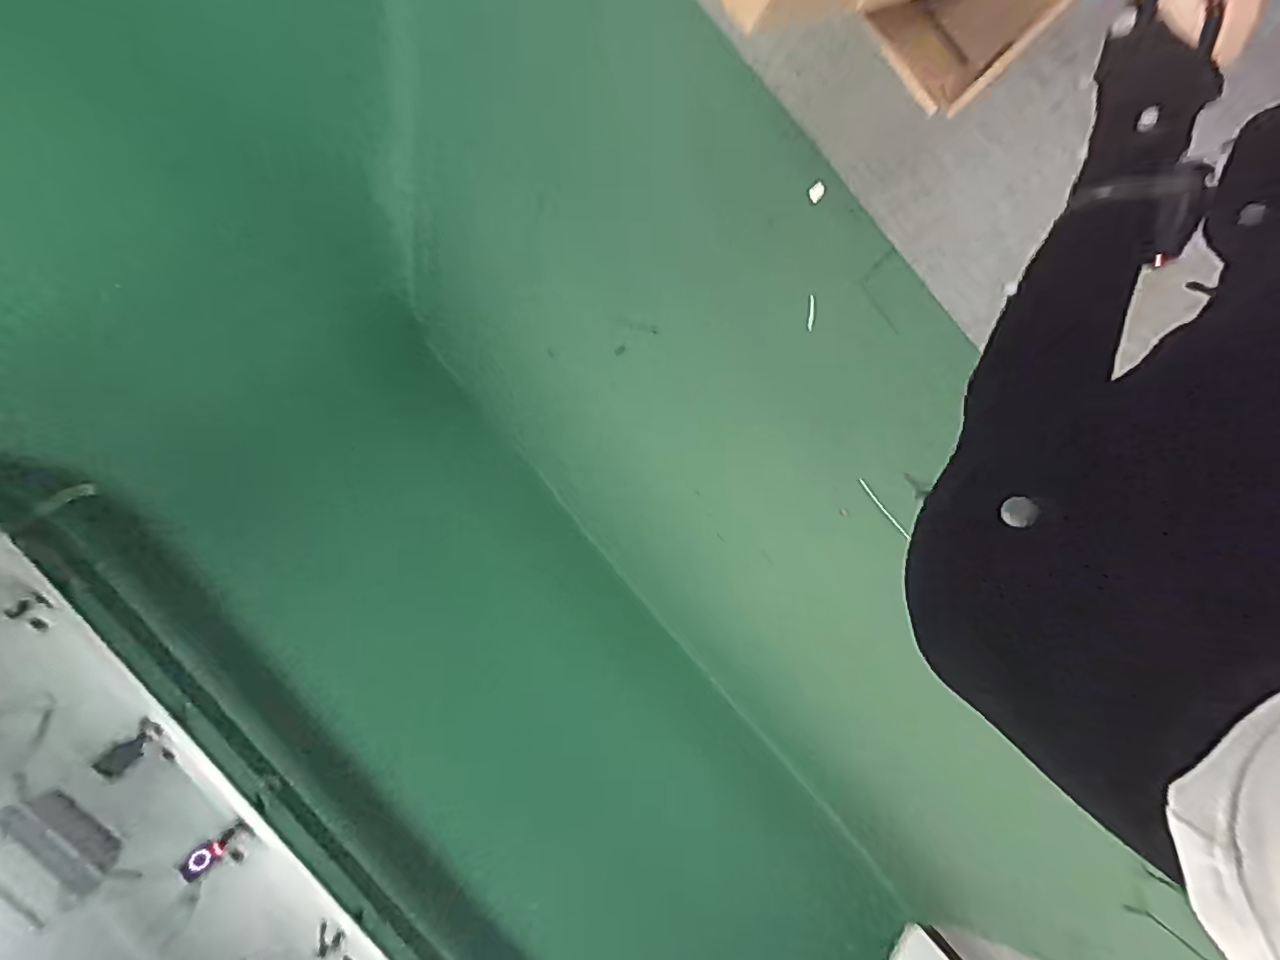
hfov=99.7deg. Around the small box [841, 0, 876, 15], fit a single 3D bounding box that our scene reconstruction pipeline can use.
[{"bbox_3d":[0.236,-0.561,0.466,0.168,0.176,0.179,50,149,0],"label":"small box"}]
